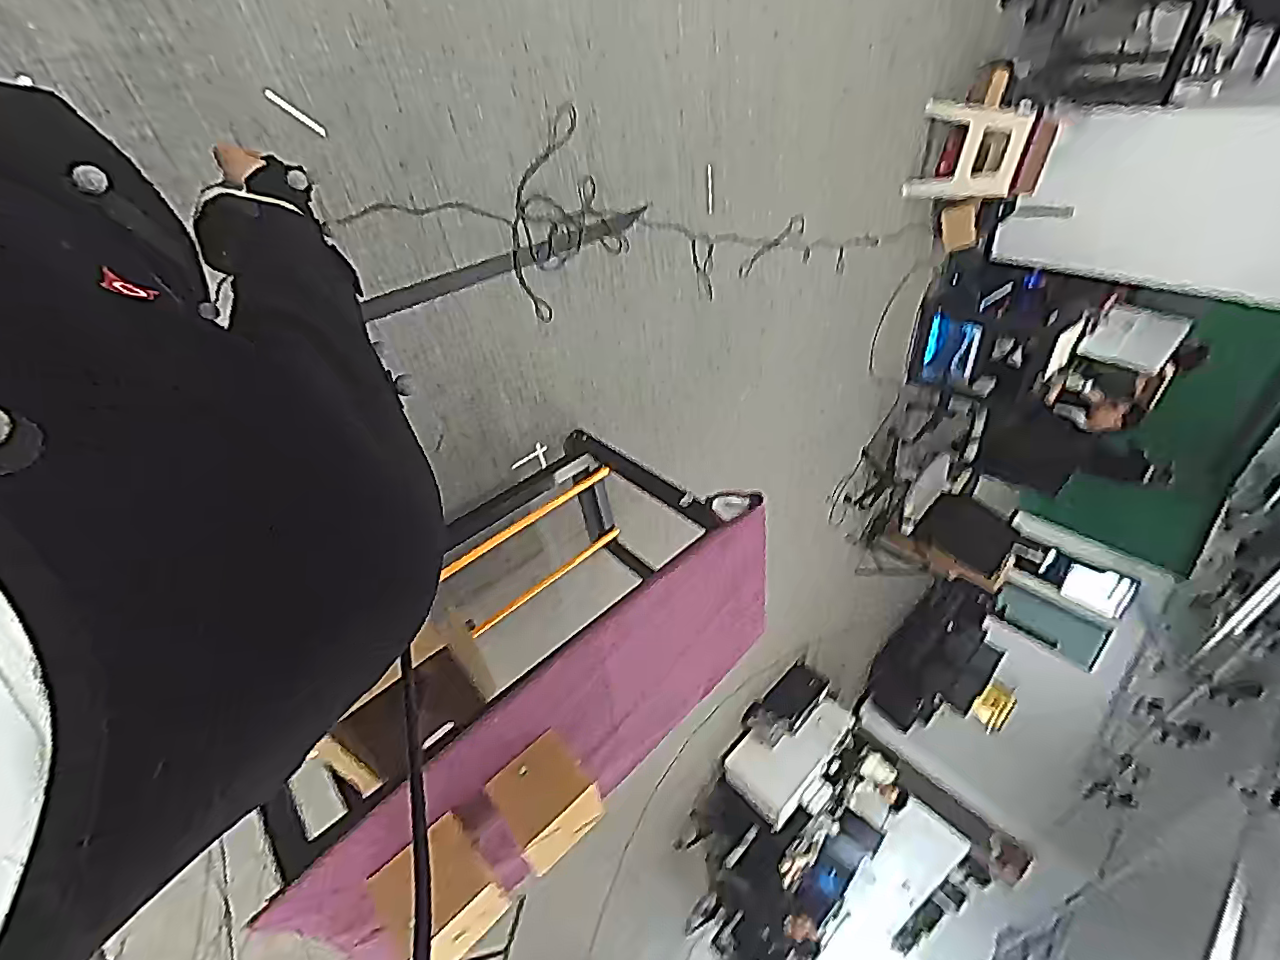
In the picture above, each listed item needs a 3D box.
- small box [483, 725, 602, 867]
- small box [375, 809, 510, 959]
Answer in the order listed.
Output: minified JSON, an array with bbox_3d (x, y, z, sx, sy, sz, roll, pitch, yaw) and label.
[{"bbox_3d":[-0.204,0.683,1.172,0.179,0.176,0.168,-34,137,-29],"label":"small box"},{"bbox_3d":[-0.386,0.794,1.049,0.179,0.176,0.168,-34,138,-28],"label":"small box"}]
